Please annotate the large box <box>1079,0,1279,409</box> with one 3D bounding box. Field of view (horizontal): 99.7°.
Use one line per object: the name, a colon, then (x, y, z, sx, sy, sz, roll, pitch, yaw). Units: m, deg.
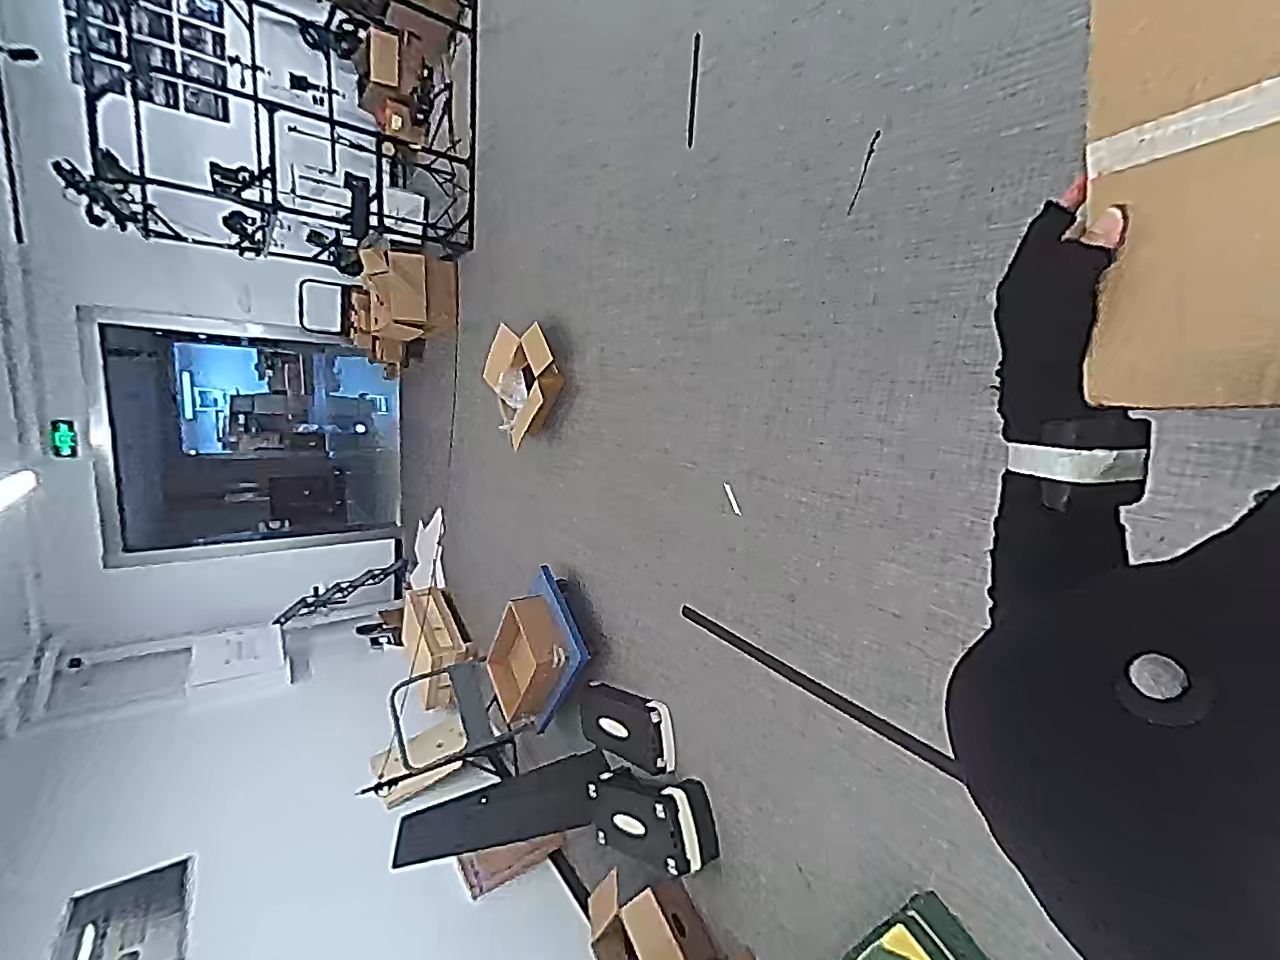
large box: (0.515, -0.215, 0.255, 0.408, 0.320, 0.320, 8, 106, 59)
